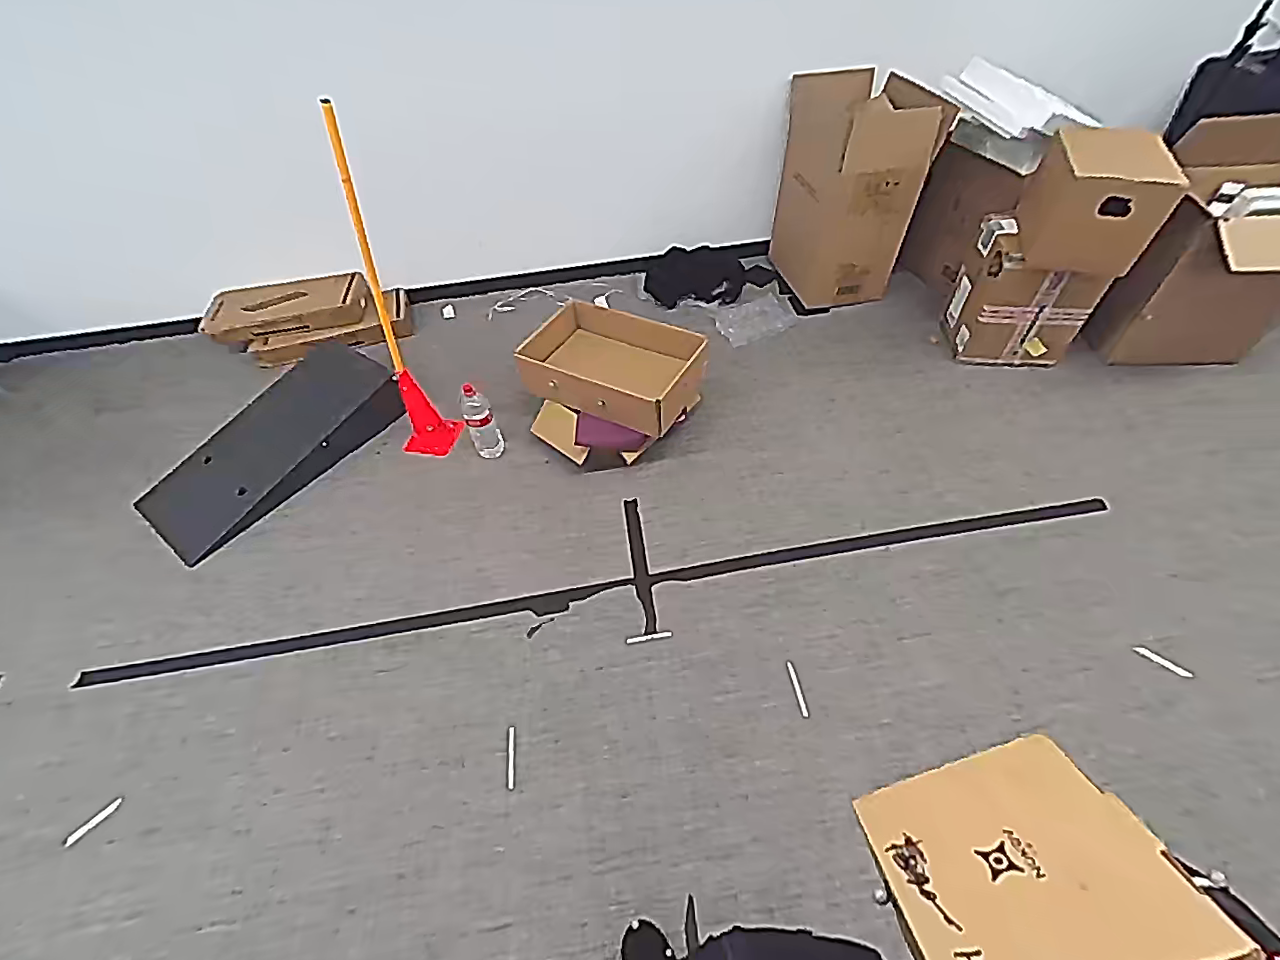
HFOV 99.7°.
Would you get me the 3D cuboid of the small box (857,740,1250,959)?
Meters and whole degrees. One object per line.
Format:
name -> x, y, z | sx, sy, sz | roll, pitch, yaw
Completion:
small box -> 0.303, 0.351, 0.422 | 0.179, 0.176, 0.168 | -22, 16, 5
